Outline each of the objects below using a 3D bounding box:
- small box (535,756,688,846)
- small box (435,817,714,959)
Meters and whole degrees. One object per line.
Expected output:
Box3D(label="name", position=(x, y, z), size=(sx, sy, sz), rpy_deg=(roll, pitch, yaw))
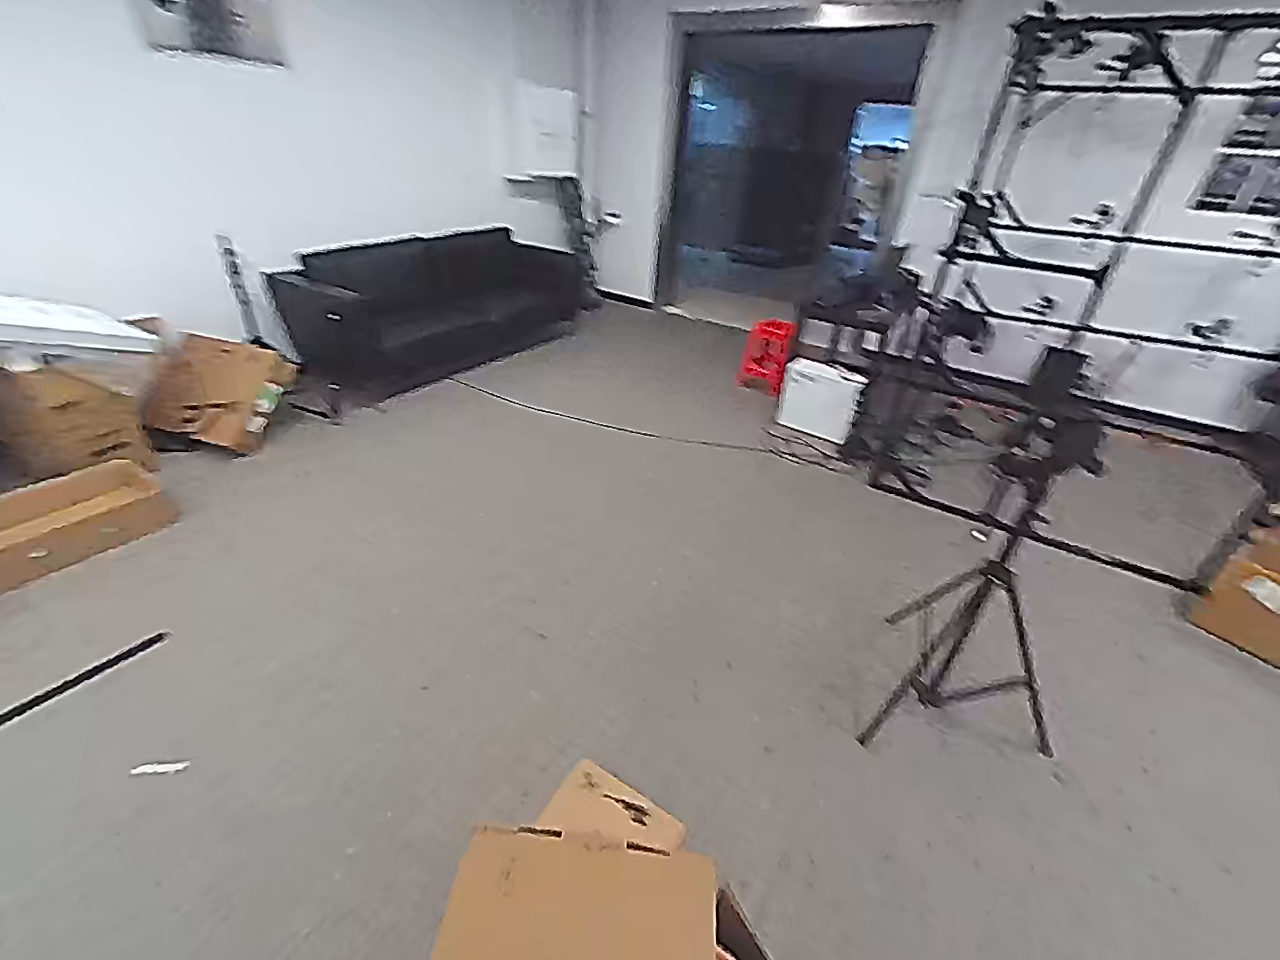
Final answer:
Box3D(label="small box", position=(-0.050, 0.514, 0.701), size=(0.168, 0.176, 0.179), rpy_deg=(20, 38, 27))
Box3D(label="small box", position=(-0.048, 0.355, 0.354), size=(0.168, 0.176, 0.179), rpy_deg=(7, 42, 1))
